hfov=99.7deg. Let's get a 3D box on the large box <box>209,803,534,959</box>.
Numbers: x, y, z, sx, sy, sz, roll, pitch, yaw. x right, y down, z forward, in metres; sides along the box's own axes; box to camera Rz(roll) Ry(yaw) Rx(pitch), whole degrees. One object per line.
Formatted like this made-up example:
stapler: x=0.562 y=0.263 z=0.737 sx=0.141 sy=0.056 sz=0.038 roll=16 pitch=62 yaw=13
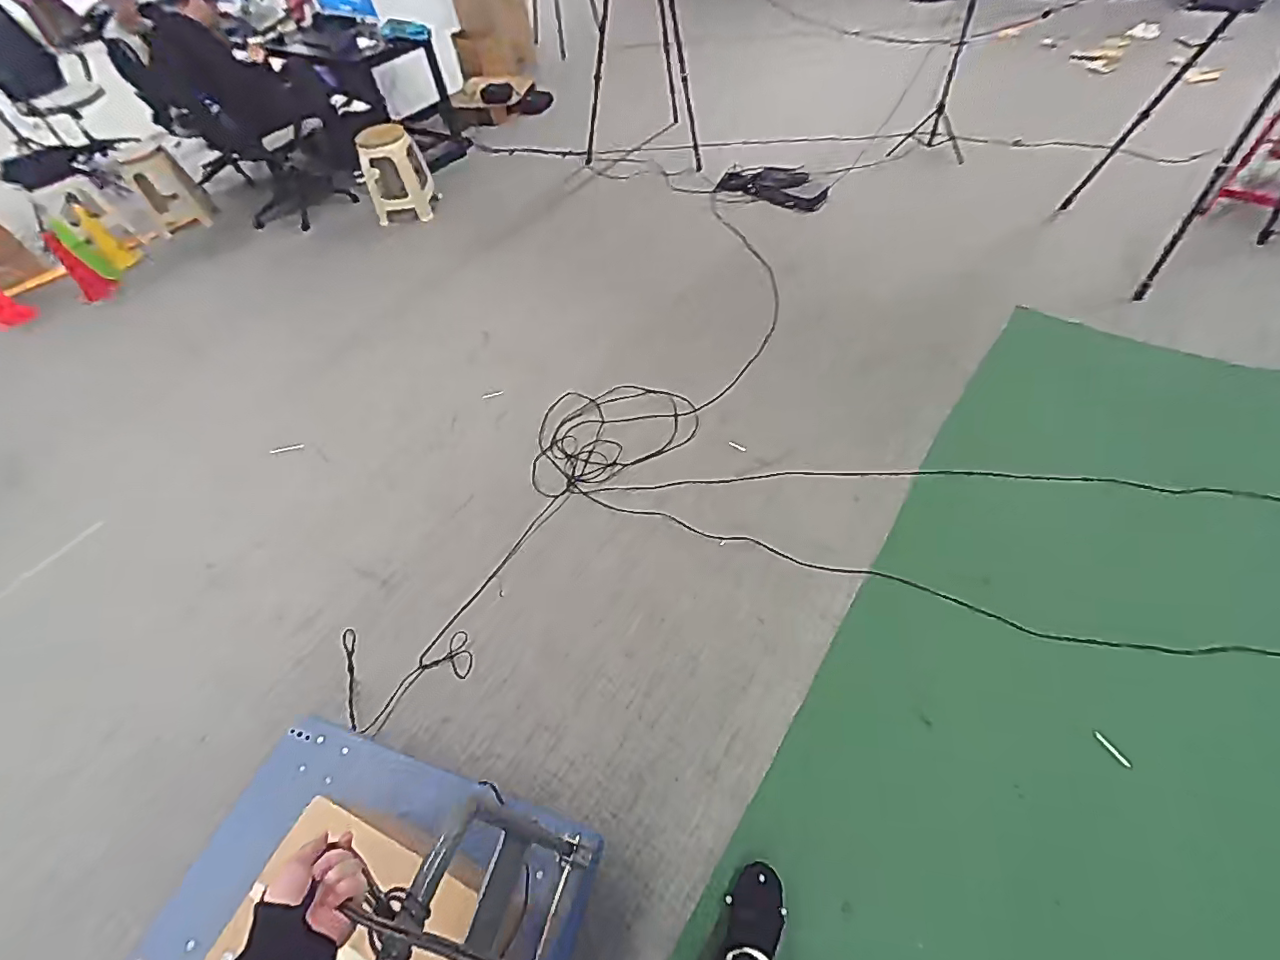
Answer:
large box: x=-0.468 y=0.853 z=0.984 sx=0.408 sy=0.320 sz=0.320 roll=16 pitch=56 yaw=19
